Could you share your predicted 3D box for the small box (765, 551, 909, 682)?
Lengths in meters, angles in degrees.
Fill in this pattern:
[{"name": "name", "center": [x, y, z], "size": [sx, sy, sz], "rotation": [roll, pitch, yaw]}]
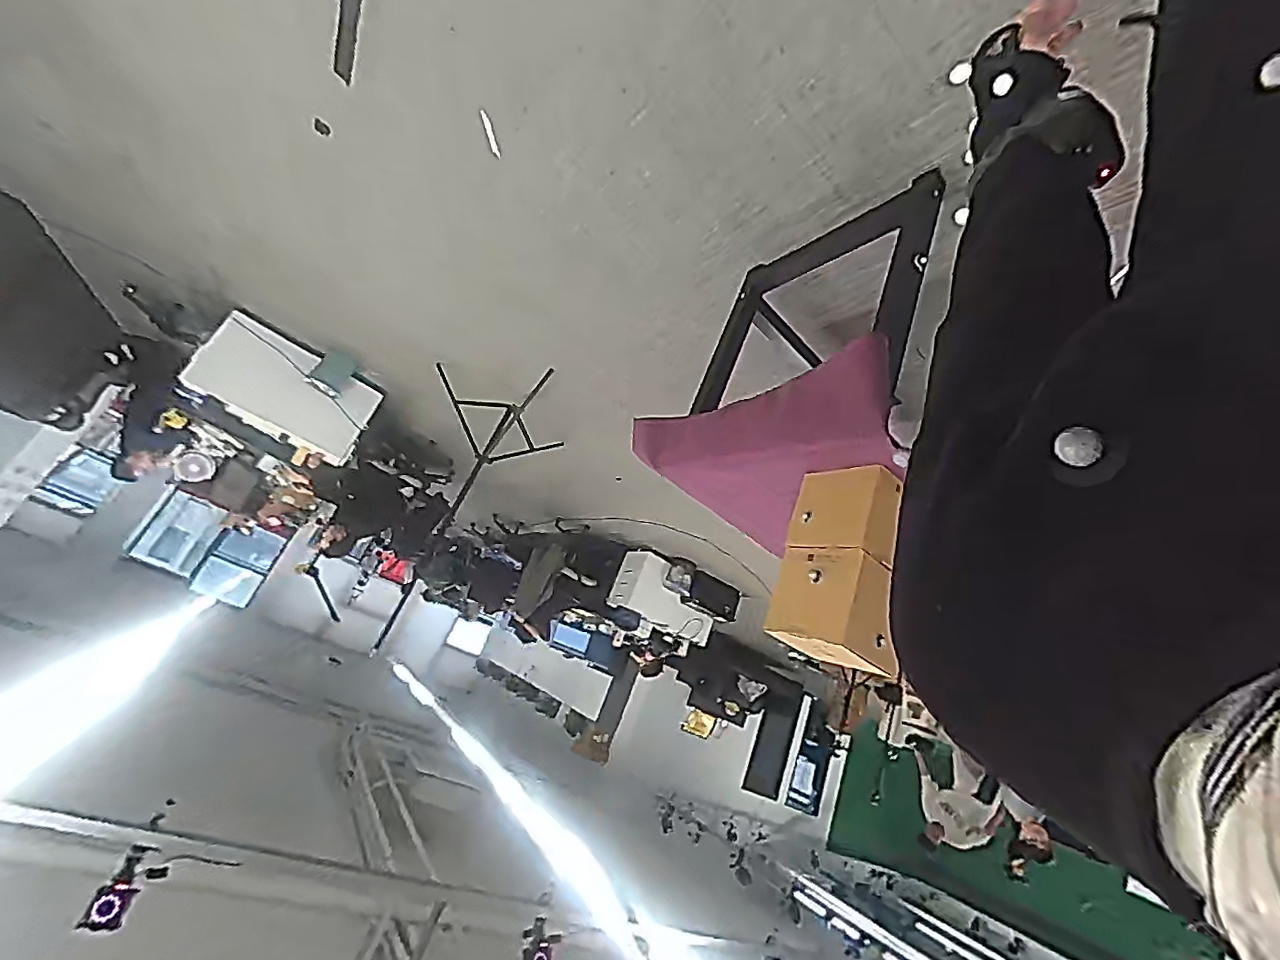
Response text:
[{"name": "small box", "center": [0.364, 0.244, 0.988], "size": [0.179, 0.176, 0.168], "rotation": [34, 157, -30]}]
